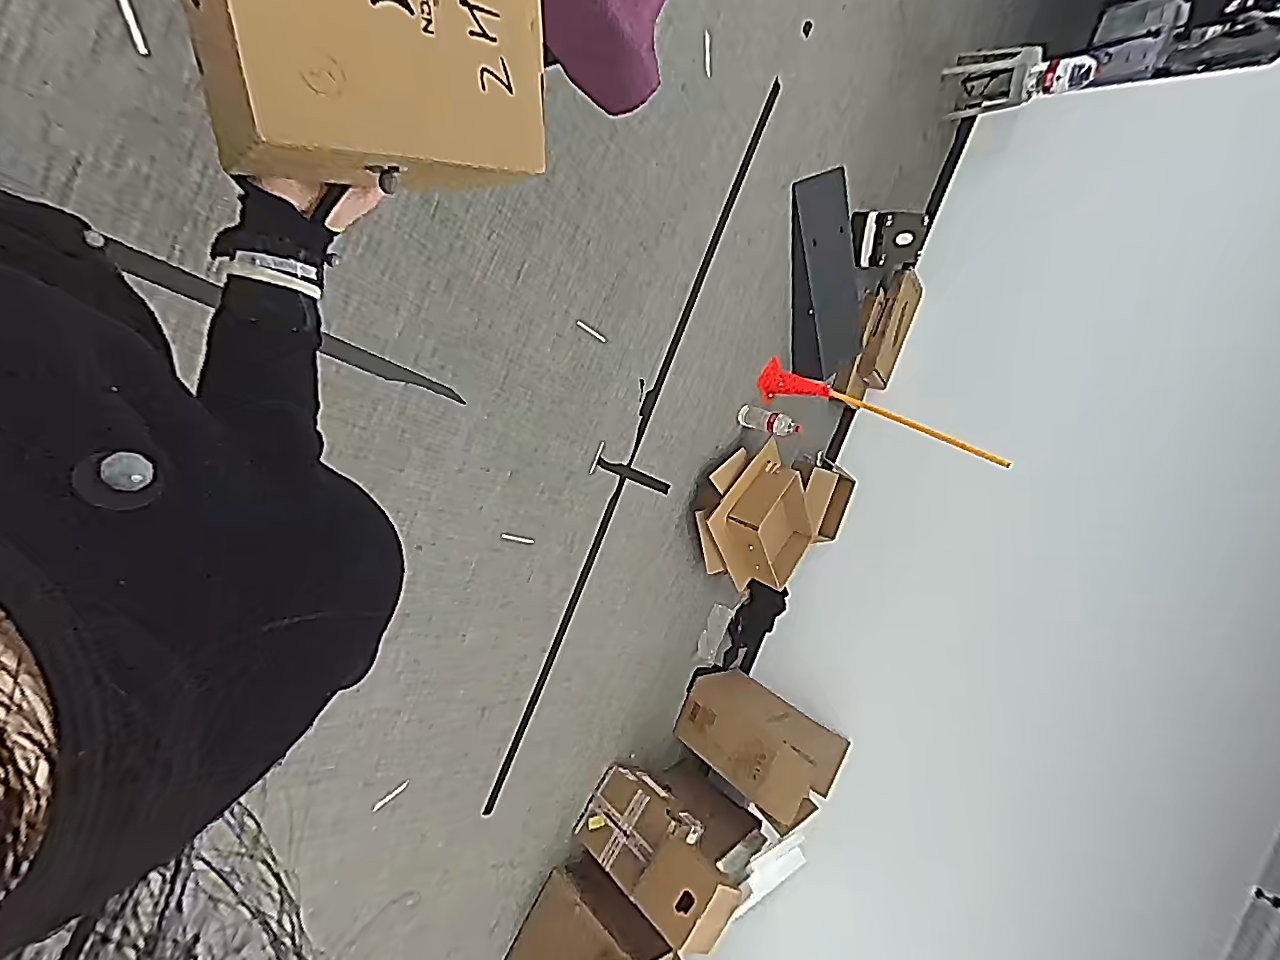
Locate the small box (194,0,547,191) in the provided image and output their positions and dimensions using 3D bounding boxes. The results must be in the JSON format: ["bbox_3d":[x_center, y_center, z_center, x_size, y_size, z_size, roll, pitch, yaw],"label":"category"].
[{"bbox_3d":[-0.183,-0.296,0.361,0.179,0.176,0.168,-18,119,-38],"label":"small box"}]
